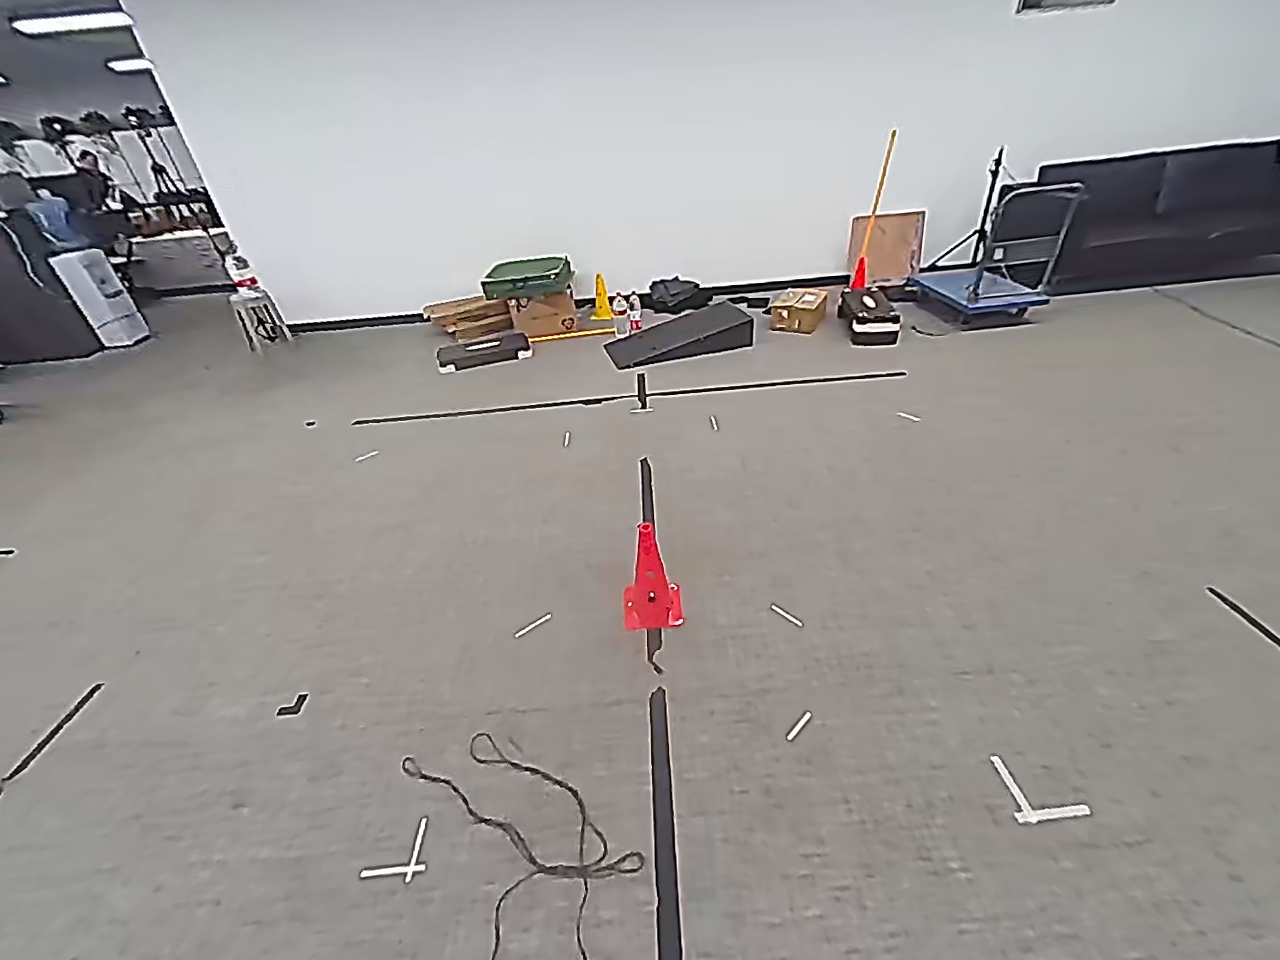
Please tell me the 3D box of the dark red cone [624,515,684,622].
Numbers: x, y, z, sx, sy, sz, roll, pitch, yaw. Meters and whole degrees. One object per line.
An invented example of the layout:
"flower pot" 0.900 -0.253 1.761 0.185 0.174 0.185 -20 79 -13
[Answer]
"dark red cone" 0.028 0.275 1.776 0.201 0.394 0.202 -6 35 1
